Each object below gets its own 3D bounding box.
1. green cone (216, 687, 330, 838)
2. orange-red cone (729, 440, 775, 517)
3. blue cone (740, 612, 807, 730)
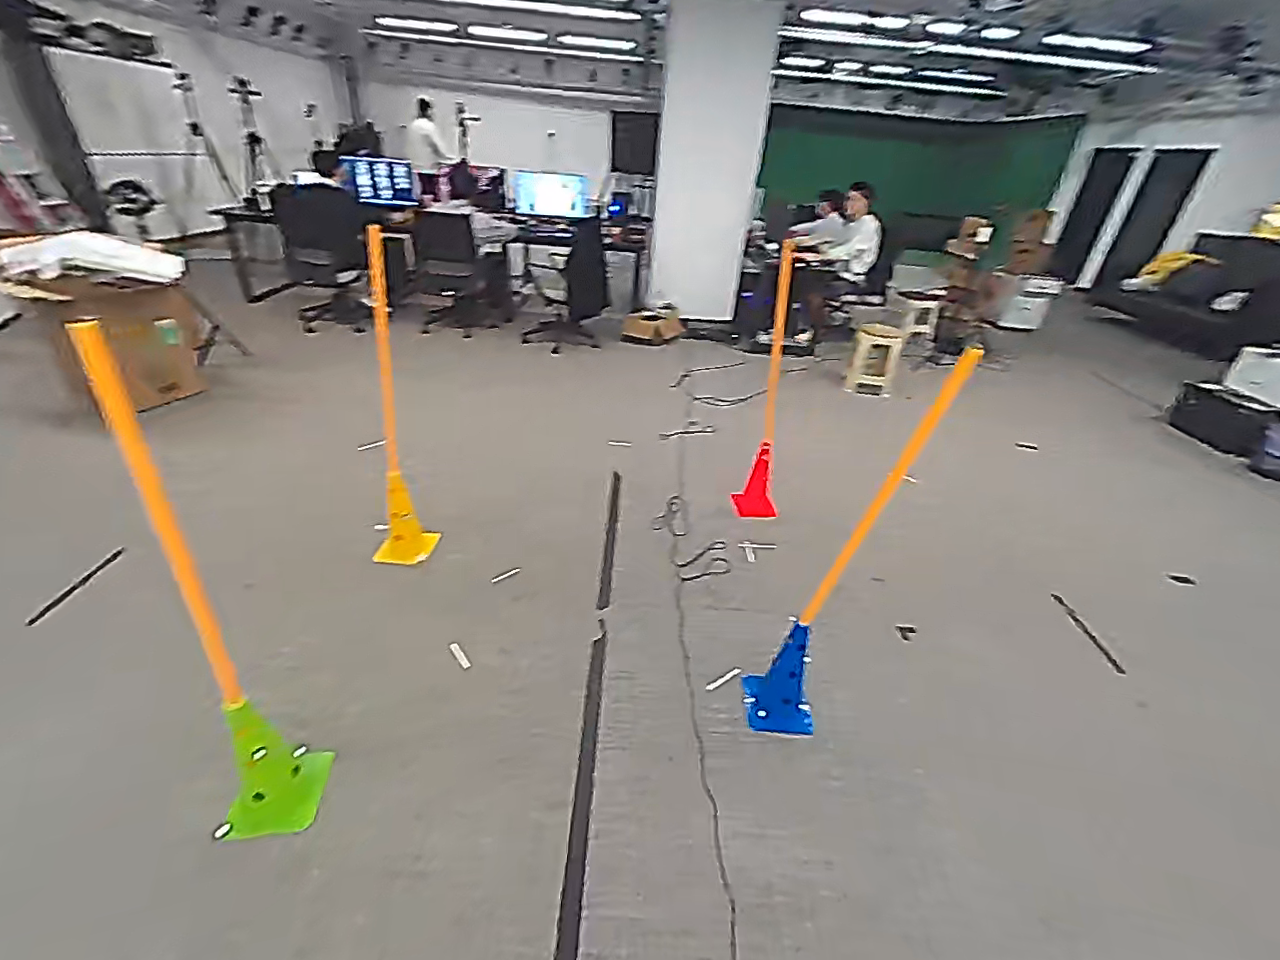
[{"bbox_3d":[-0.891,0.626,1.259,0.200,0.368,0.202,-1,29,-11],"label":"green cone"},{"bbox_3d":[0.555,-0.021,2.547,0.199,0.360,0.198,0,31,-5],"label":"orange-red cone"},{"bbox_3d":[0.428,0.550,1.602,0.193,0.380,0.192,5,30,0],"label":"blue cone"}]
